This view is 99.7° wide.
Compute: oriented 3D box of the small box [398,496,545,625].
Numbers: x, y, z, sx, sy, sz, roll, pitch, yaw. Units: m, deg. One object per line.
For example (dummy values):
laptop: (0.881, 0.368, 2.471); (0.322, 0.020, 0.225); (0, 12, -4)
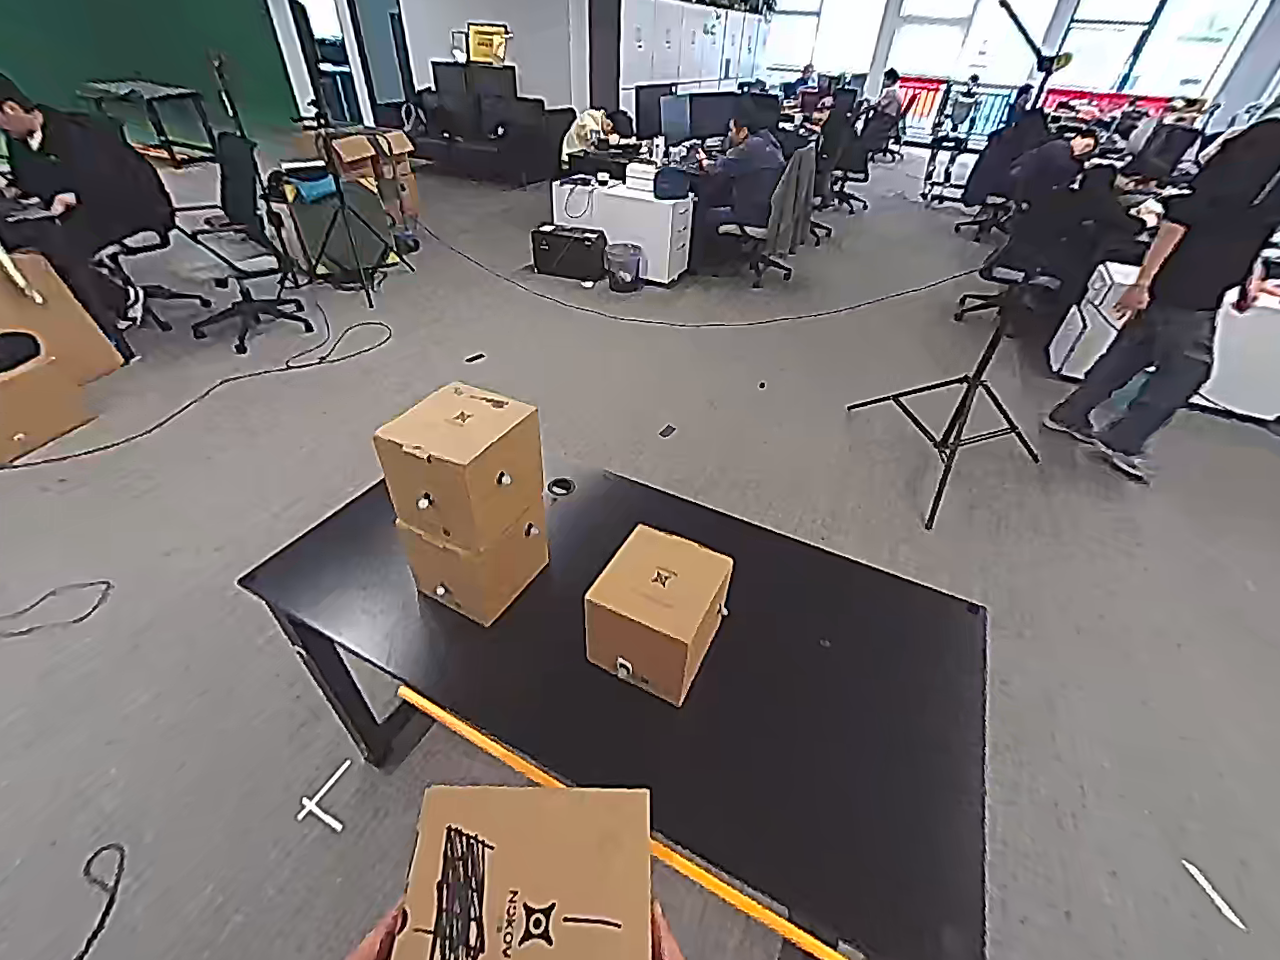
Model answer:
small box: (-0.280, 0.113, 0.939); (0.168, 0.176, 0.179); (21, 43, 20)

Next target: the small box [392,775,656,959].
small box: (-0.082, 0.351, 0.433); (0.179, 0.176, 0.168); (3, 47, -4)

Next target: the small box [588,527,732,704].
small box: (0.030, 0.209, 0.849); (0.168, 0.176, 0.179); (18, 42, 19)

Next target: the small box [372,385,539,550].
small box: (-0.270, -0.020, 0.842); (0.168, 0.176, 0.179); (19, 42, 18)
